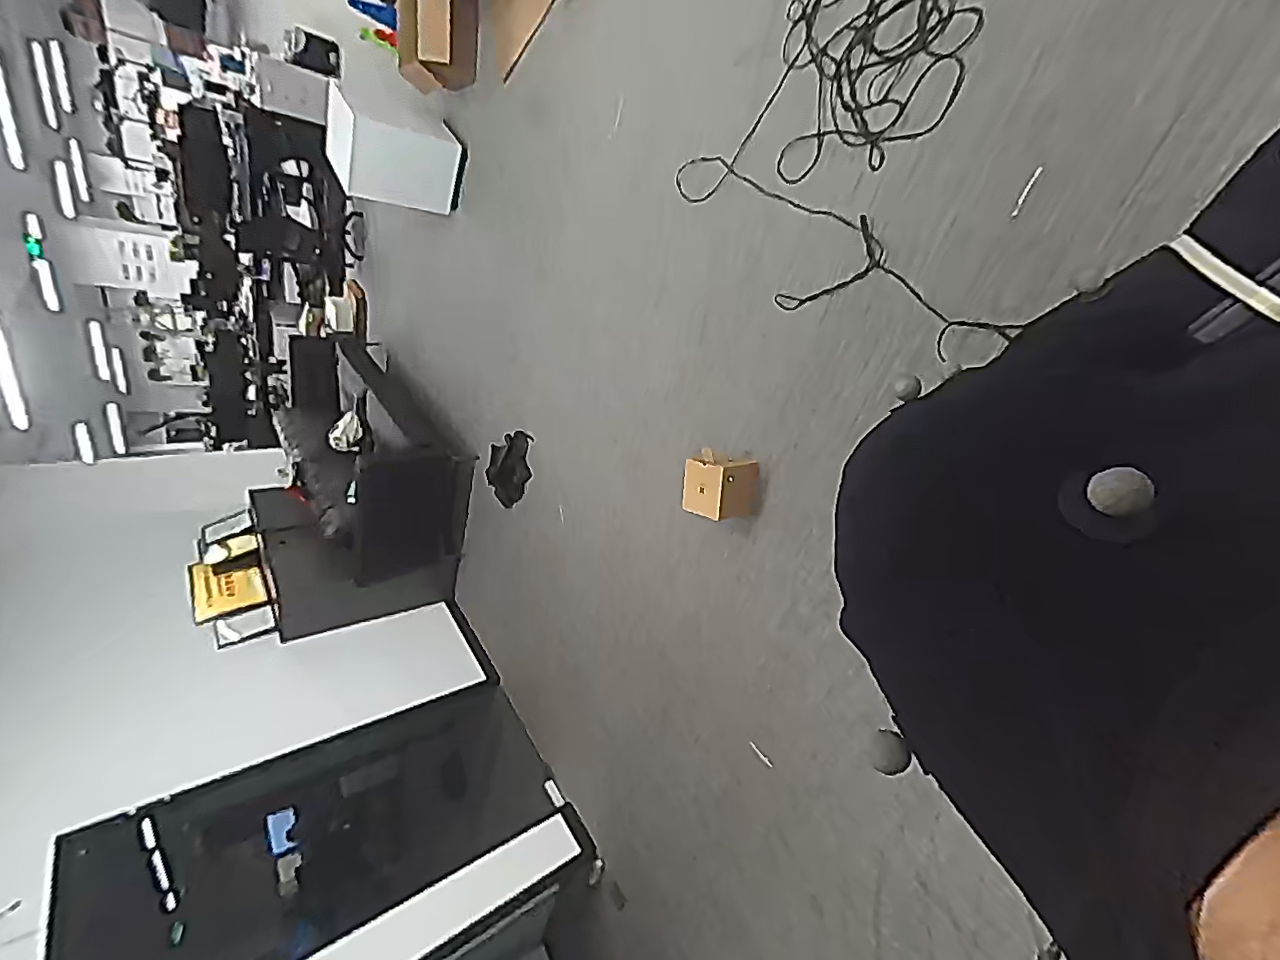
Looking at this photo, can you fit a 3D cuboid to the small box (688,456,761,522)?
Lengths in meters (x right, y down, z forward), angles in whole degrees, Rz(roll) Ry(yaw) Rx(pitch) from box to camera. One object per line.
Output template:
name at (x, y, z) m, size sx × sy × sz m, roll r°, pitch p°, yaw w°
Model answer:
small box at (0.278, 0.024, 1.773) m, size 0.168 × 0.176 × 0.179 m, roll 17°, pitch 108°, yaw 48°
